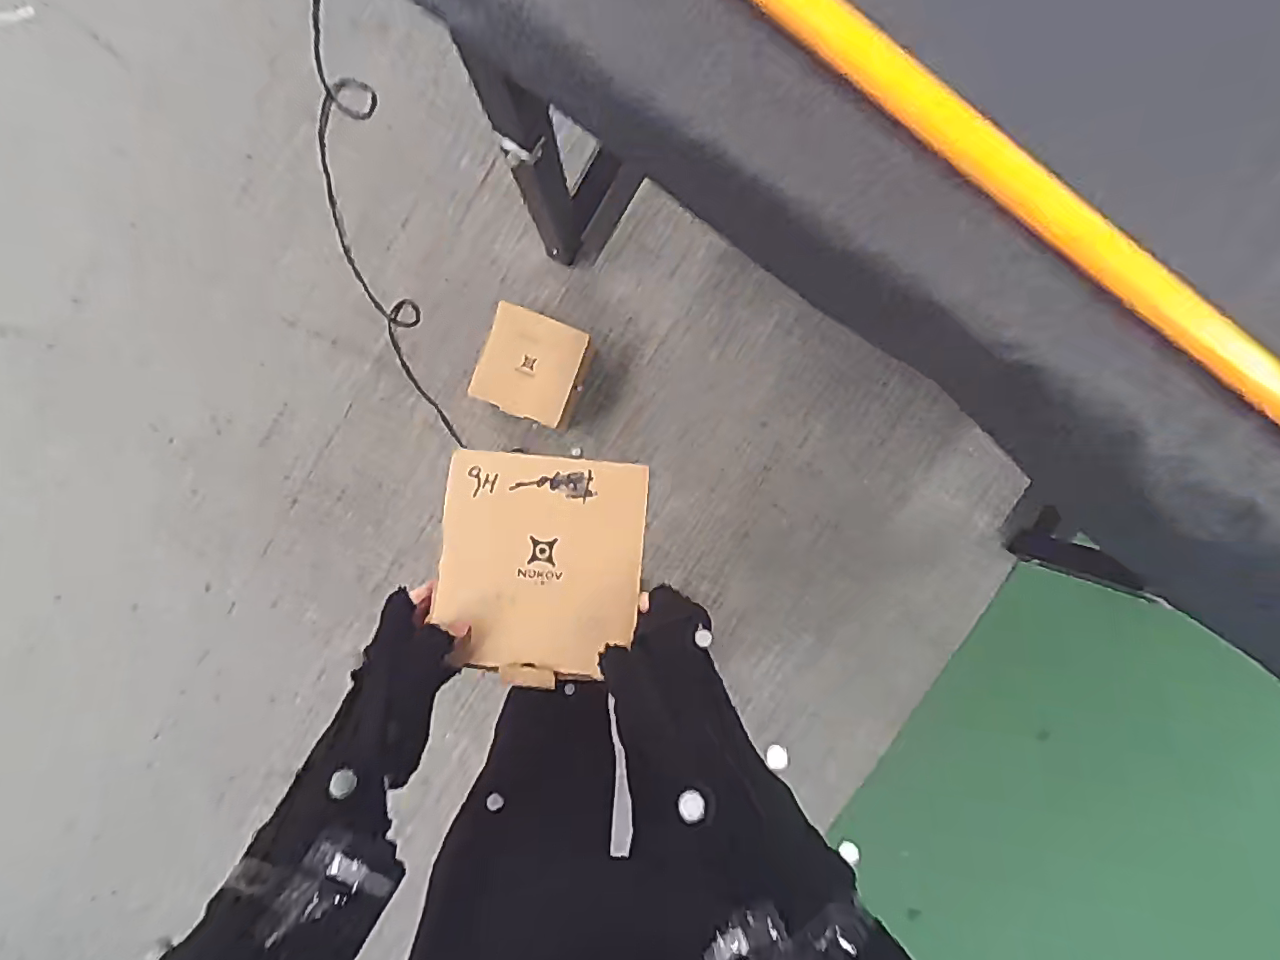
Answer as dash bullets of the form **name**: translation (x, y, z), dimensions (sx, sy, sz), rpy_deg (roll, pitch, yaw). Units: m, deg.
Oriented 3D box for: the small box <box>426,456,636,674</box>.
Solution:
- **small box**: translation (-0.089, 0.079, 0.525), dimensions (0.168, 0.176, 0.179), rpy_deg (2, 81, 0)
